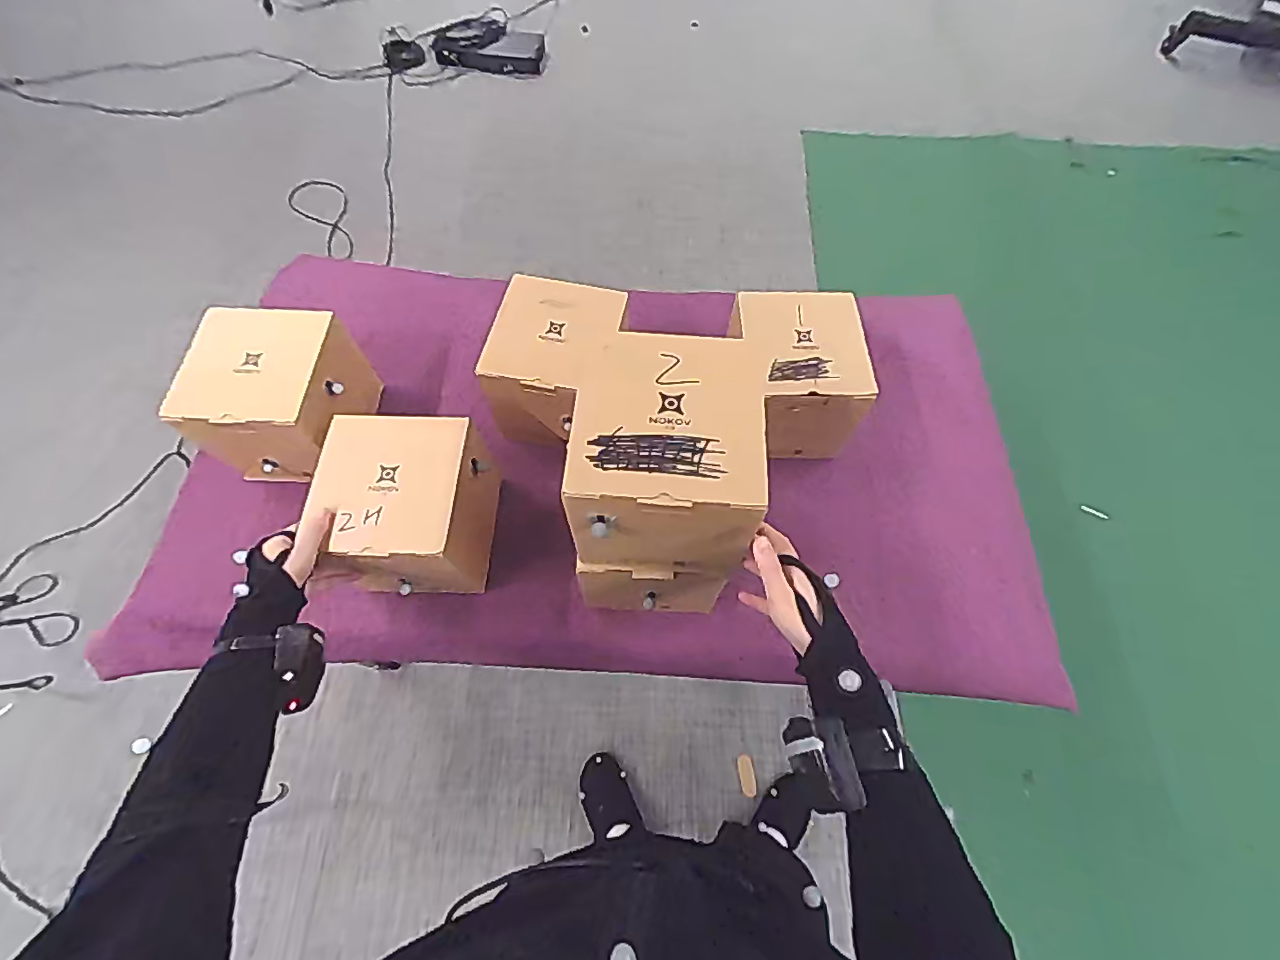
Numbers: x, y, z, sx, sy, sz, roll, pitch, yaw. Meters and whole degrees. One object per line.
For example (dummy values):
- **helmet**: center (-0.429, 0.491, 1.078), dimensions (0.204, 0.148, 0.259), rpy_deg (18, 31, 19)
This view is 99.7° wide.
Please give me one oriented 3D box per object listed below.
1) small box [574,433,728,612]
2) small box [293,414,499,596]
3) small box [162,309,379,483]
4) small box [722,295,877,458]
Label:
- **small box**: center (0.015, 0.061, 0.675), dimensions (0.168, 0.176, 0.179), rpy_deg (3, 63, 0)
- **small box**: center (-0.284, 0.037, 0.679), dimensions (0.168, 0.176, 0.179), rpy_deg (1, 65, 2)
- **small box**: center (-0.487, -0.110, 0.751), dimensions (0.168, 0.176, 0.179), rpy_deg (2, 65, -1)
- **small box**: center (0.214, -0.142, 0.779), dimensions (0.168, 0.176, 0.179), rpy_deg (0, 63, -1)
